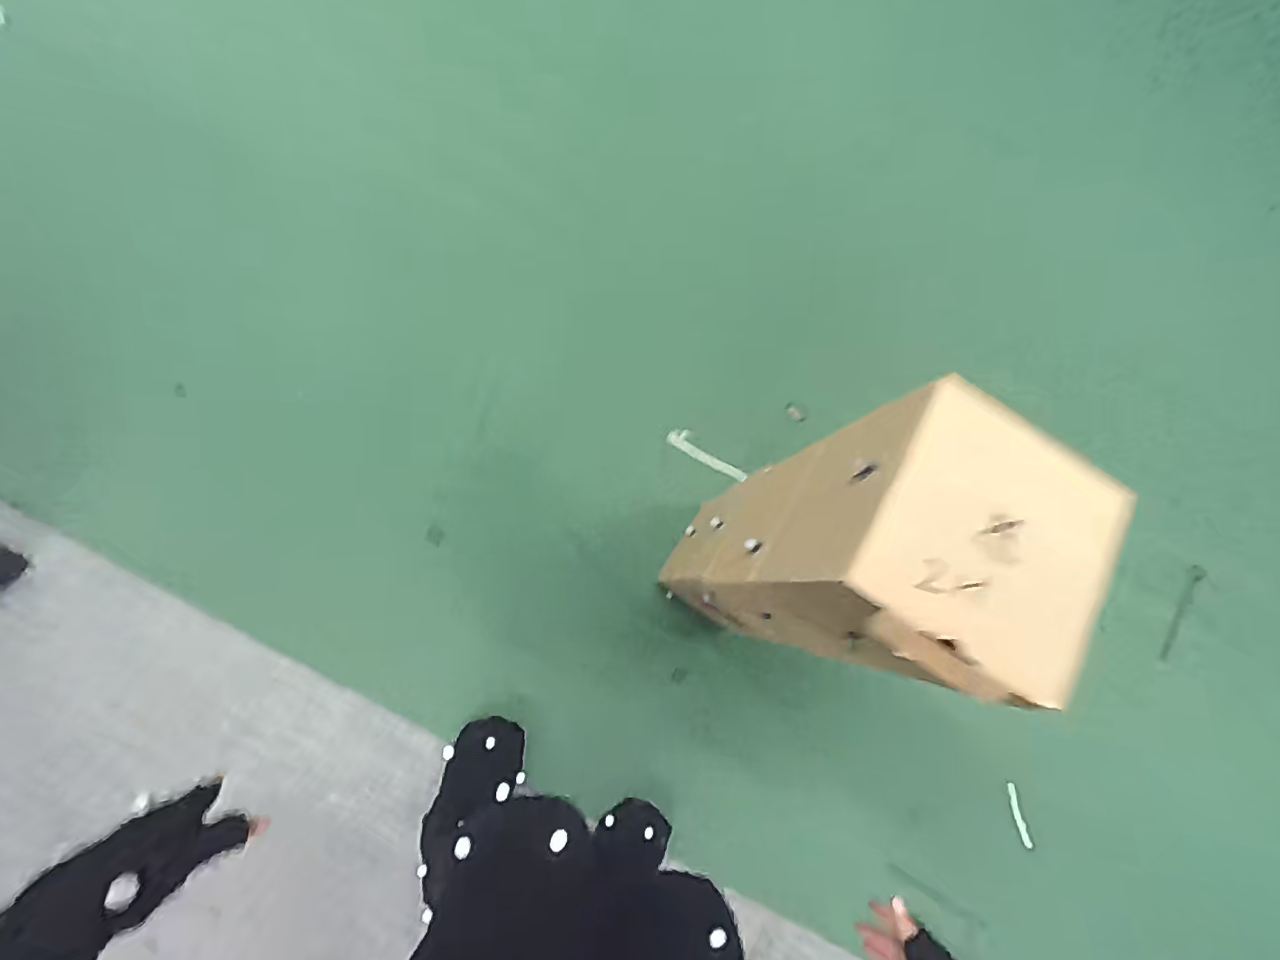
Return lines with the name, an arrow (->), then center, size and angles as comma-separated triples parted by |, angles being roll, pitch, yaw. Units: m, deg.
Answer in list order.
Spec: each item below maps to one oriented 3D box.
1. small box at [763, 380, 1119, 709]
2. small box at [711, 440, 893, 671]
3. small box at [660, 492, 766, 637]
small box -> 0.230, 0.053, 0.453 | 0.168, 0.176, 0.179 | 33, 76, -2
small box -> 0.203, 0.084, 0.613 | 0.168, 0.176, 0.179 | 32, 76, -3
small box -> 0.148, 0.145, 0.930 | 0.168, 0.176, 0.179 | 31, 78, -2
